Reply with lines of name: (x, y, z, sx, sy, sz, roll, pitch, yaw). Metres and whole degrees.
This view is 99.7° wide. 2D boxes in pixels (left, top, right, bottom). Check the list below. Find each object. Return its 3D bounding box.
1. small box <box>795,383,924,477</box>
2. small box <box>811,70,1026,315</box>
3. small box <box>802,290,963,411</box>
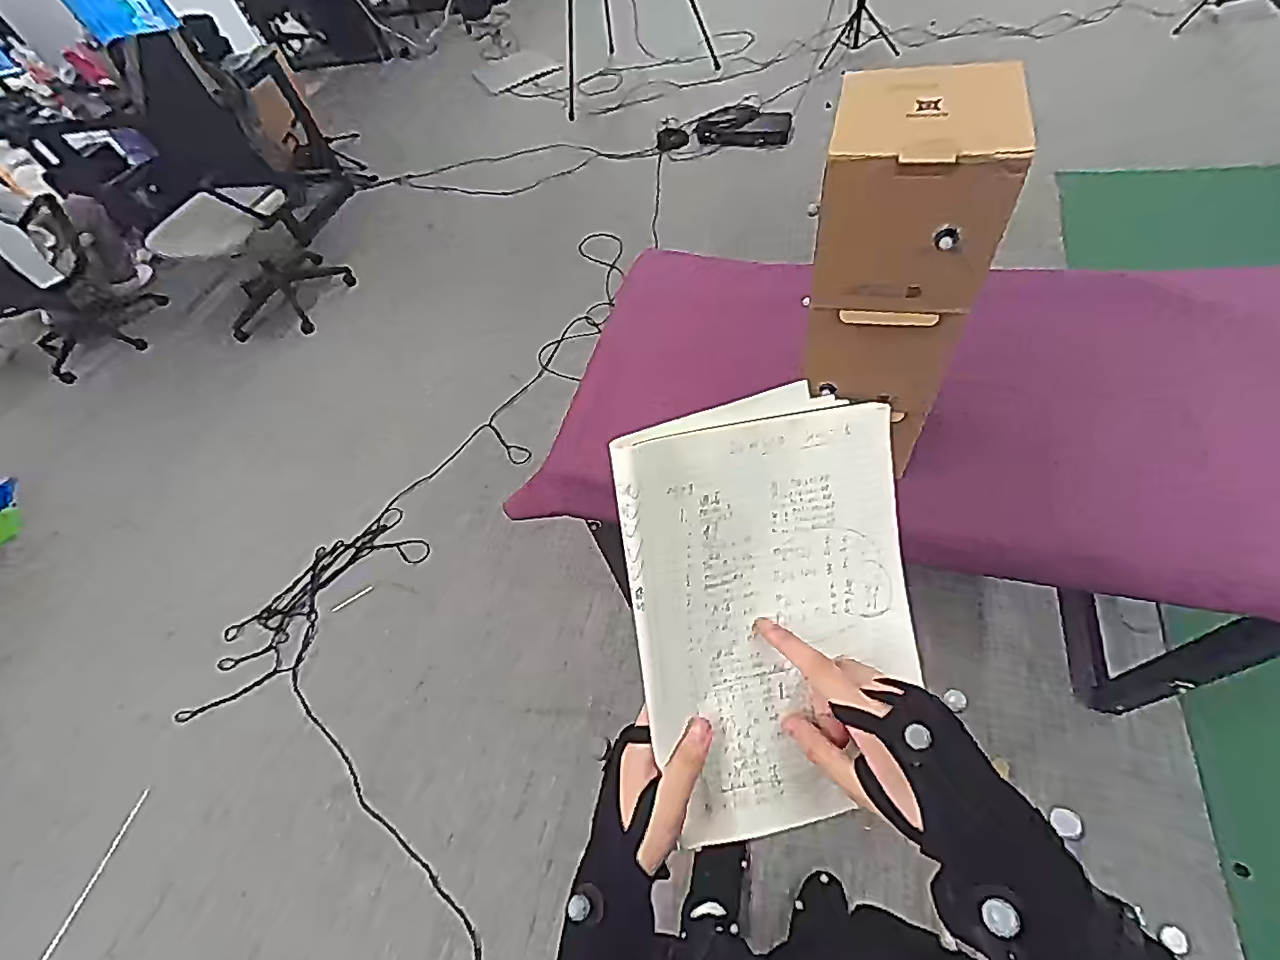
small box: (0.339, -0.125, 0.849, 0.168, 0.176, 0.179, 9, 59, 17)
small box: (0.281, -0.298, 0.576, 0.168, 0.176, 0.179, 10, 58, 17)
small box: (0.310, -0.211, 0.711, 0.168, 0.176, 0.179, 9, 57, 17)
